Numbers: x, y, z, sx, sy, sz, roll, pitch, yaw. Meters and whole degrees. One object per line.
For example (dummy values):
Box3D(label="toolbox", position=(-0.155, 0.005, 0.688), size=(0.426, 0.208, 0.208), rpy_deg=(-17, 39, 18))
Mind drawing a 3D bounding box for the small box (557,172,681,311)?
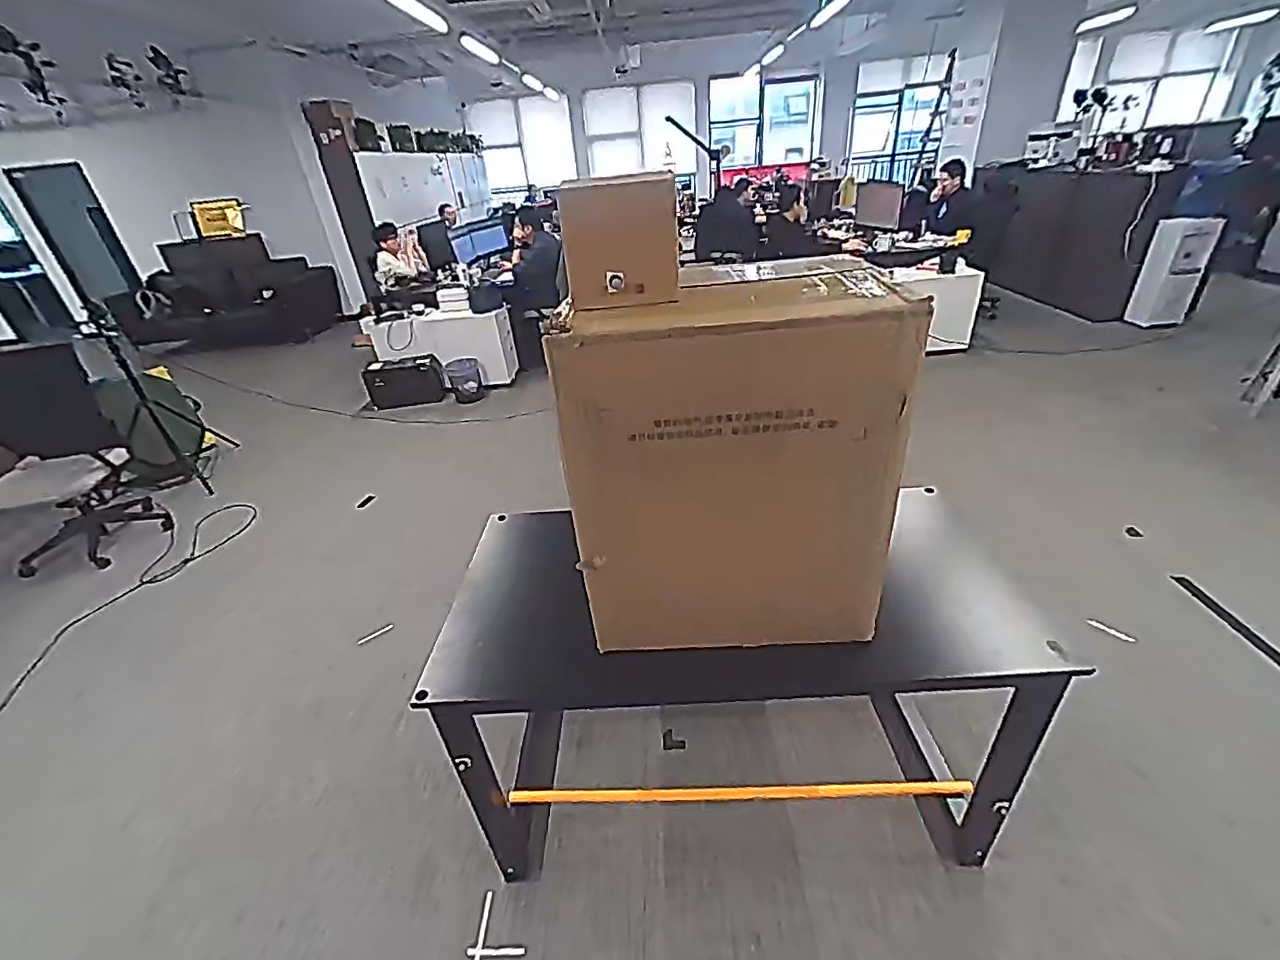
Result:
Box3D(label="small box", position=(-0.030, -0.371, 0.839), size=(0.168, 0.176, 0.179), rpy_deg=(-7, 33, -1))
